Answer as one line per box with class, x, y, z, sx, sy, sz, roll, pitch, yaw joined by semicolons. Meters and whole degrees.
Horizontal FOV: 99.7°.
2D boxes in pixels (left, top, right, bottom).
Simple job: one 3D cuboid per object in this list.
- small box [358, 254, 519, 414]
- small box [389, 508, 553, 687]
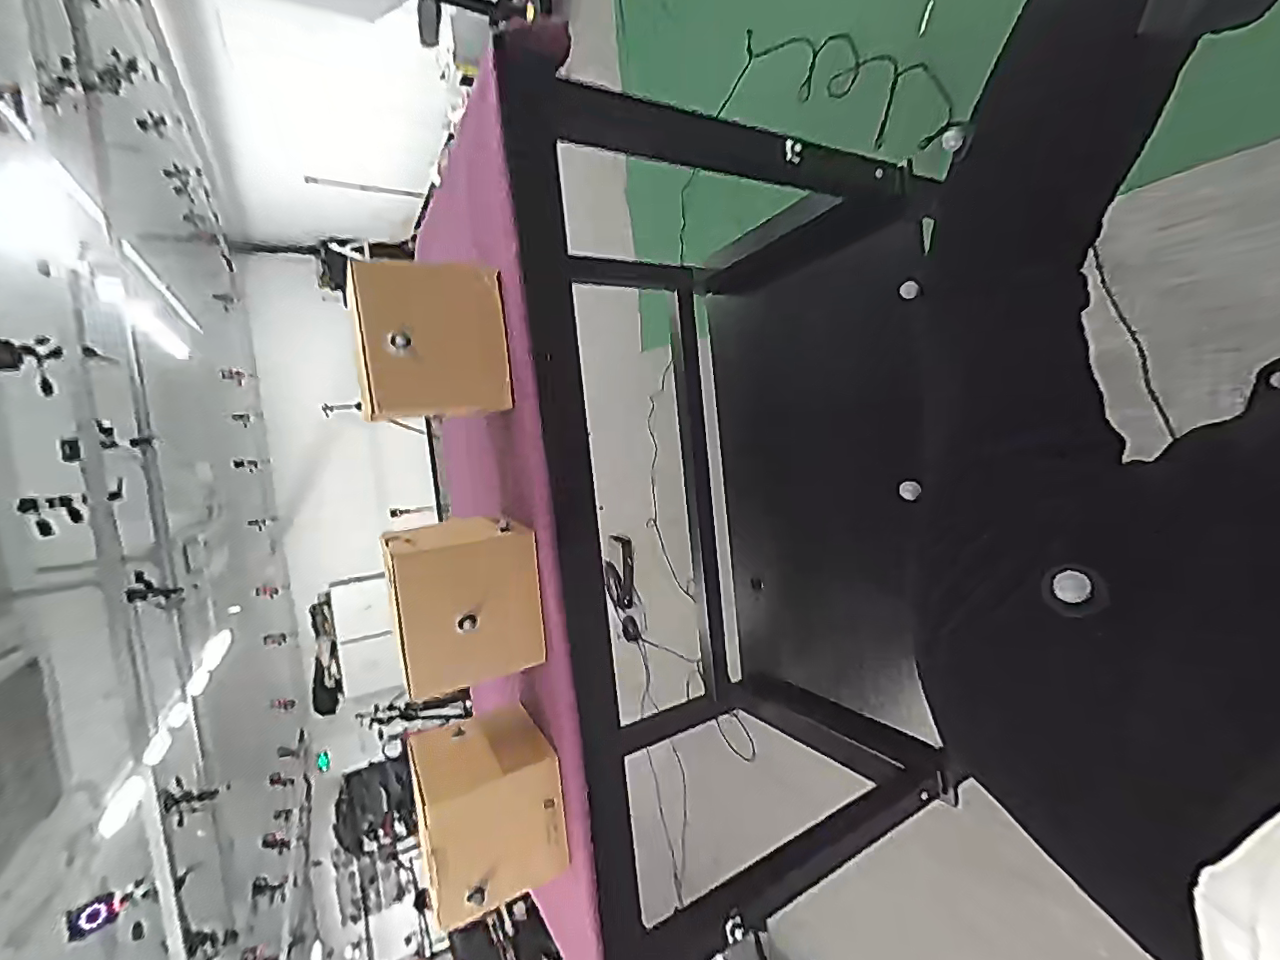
small box;-0.266;-0.183;0.715;0.168;0.176;0.179;7;103;61
small box;-0.226;0.139;0.723;0.168;0.176;0.179;10;107;61
